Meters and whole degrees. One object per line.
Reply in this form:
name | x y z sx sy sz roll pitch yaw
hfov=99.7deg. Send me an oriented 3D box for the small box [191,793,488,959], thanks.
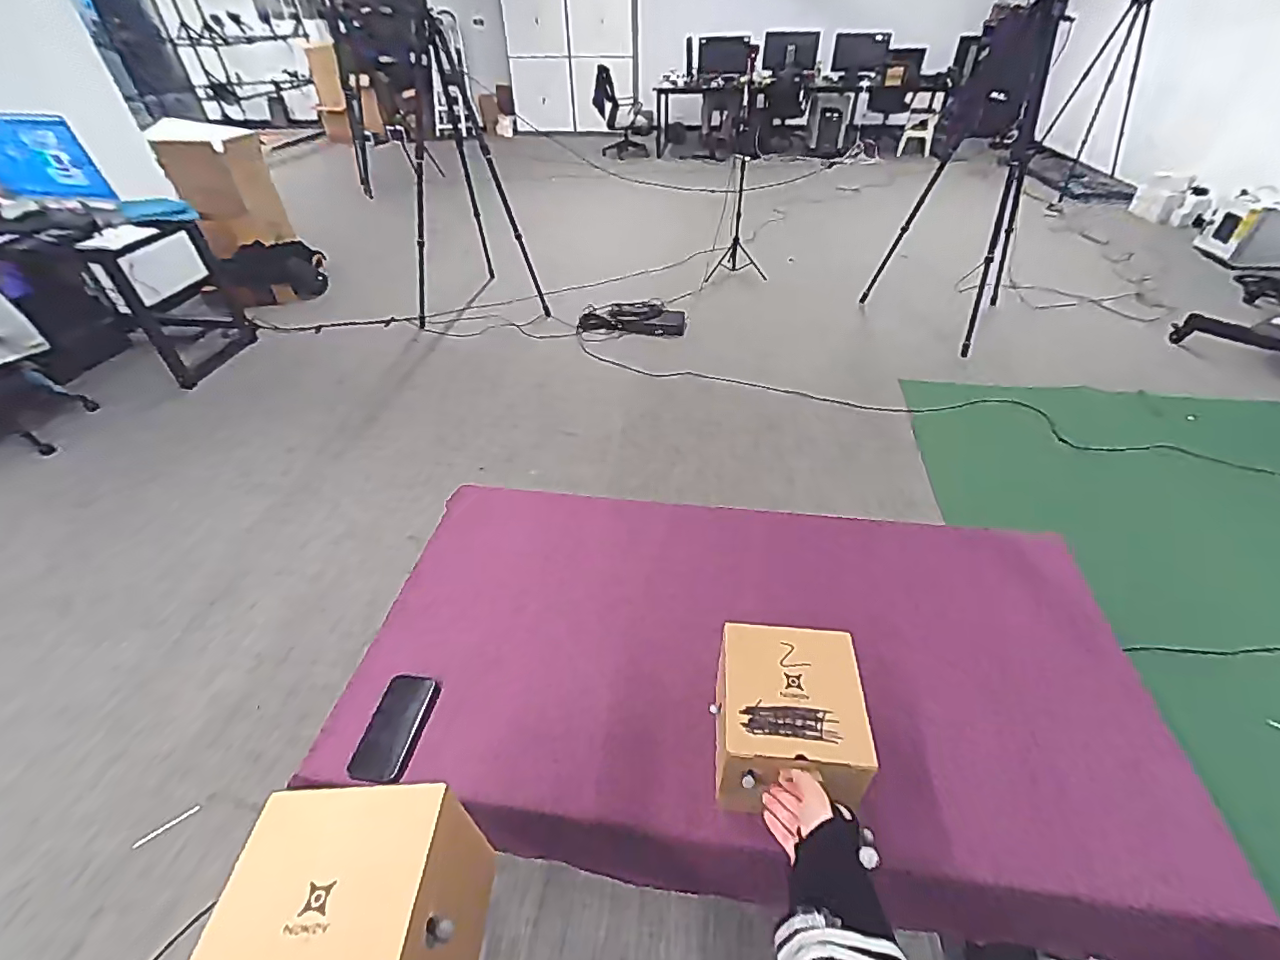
small box | -0.241 0.397 0.462 0.168 0.176 0.179 -4 38 4
